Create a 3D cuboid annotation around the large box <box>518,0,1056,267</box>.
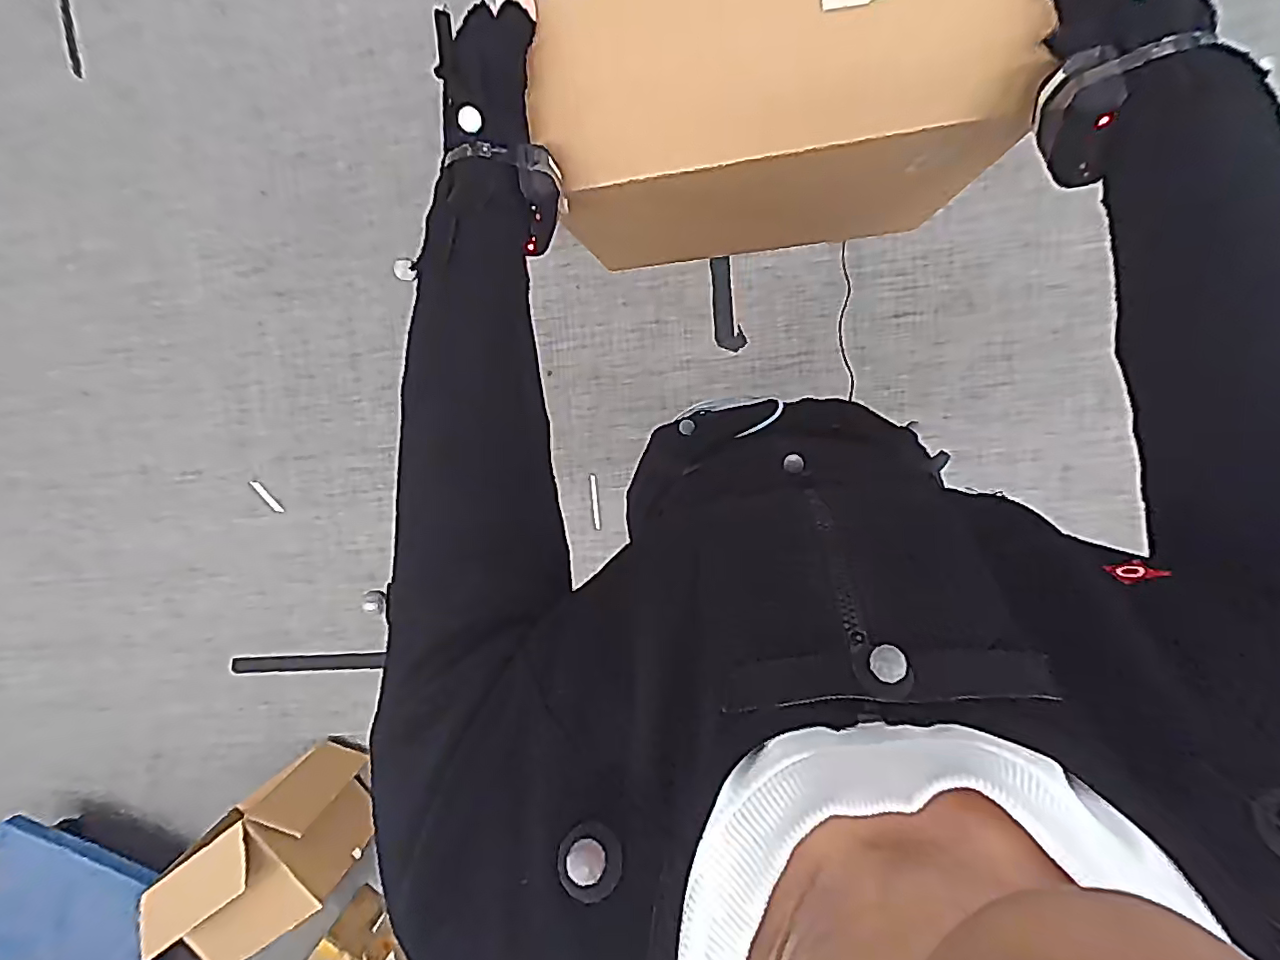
[{"bbox_3d":[0.113,-0.438,0.552,0.408,0.320,0.320,-5,99,9],"label":"large box"}]
